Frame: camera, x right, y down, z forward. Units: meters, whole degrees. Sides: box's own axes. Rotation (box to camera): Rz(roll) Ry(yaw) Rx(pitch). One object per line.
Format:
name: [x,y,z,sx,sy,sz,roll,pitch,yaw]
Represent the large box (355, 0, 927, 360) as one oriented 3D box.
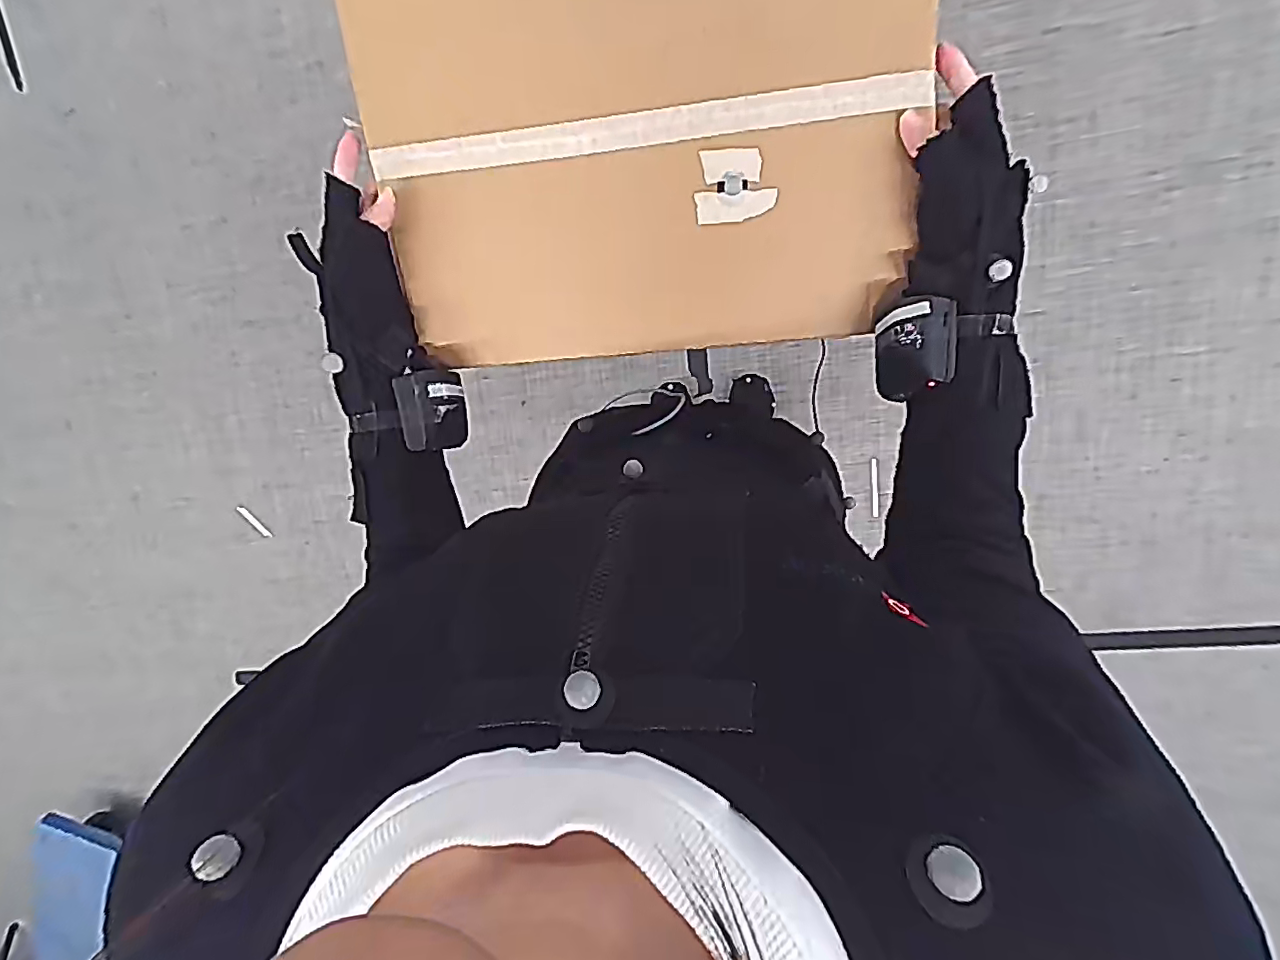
large box: [0.011,-0.312,0.540,0.408,0.320,0.320,-4,110,6]
